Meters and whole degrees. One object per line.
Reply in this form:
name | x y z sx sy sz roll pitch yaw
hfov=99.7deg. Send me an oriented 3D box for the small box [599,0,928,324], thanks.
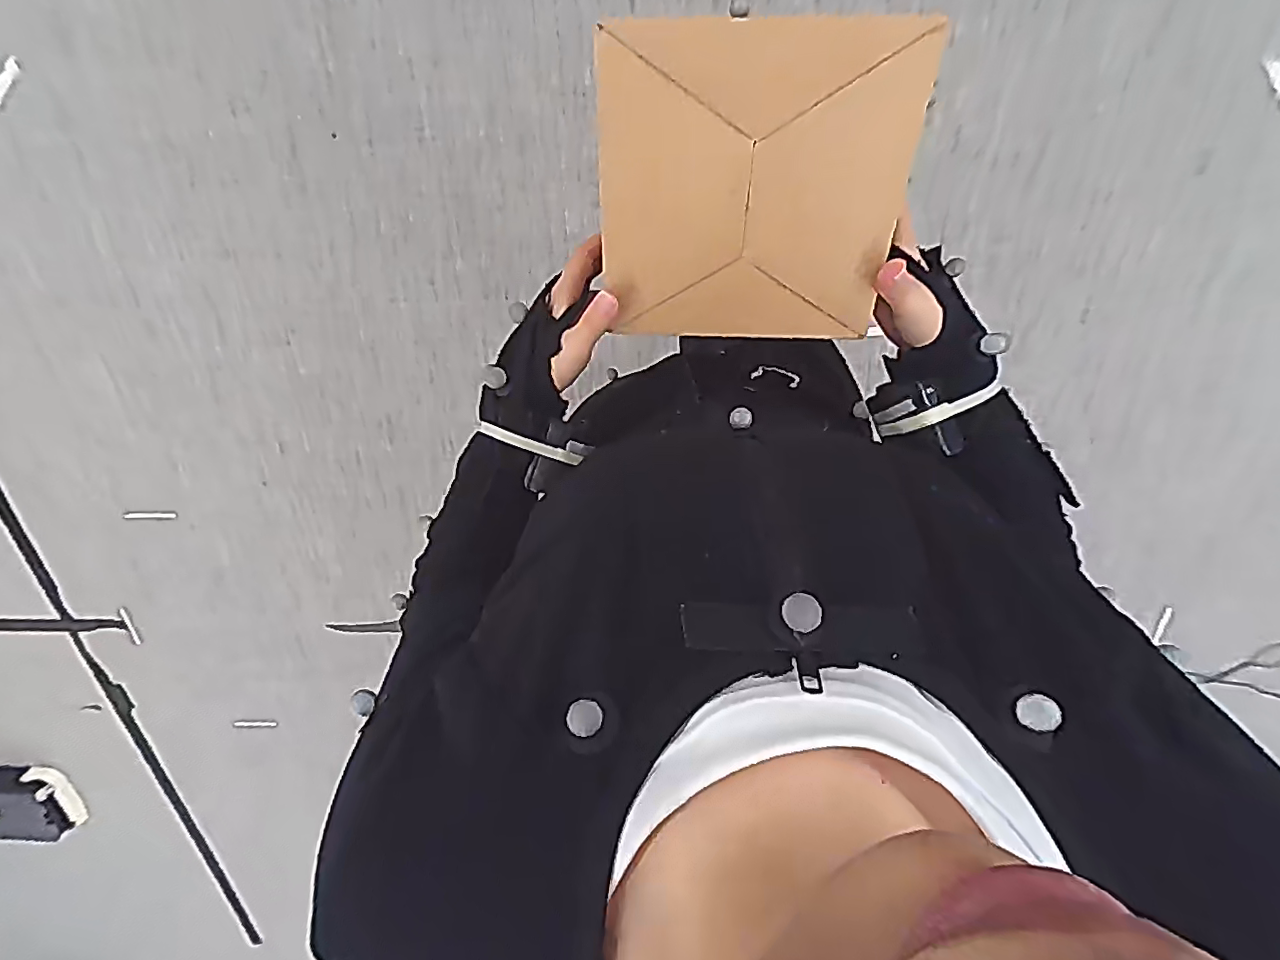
small box | 0.072 -0.216 0.374 0.179 0.176 0.168 2 127 2
